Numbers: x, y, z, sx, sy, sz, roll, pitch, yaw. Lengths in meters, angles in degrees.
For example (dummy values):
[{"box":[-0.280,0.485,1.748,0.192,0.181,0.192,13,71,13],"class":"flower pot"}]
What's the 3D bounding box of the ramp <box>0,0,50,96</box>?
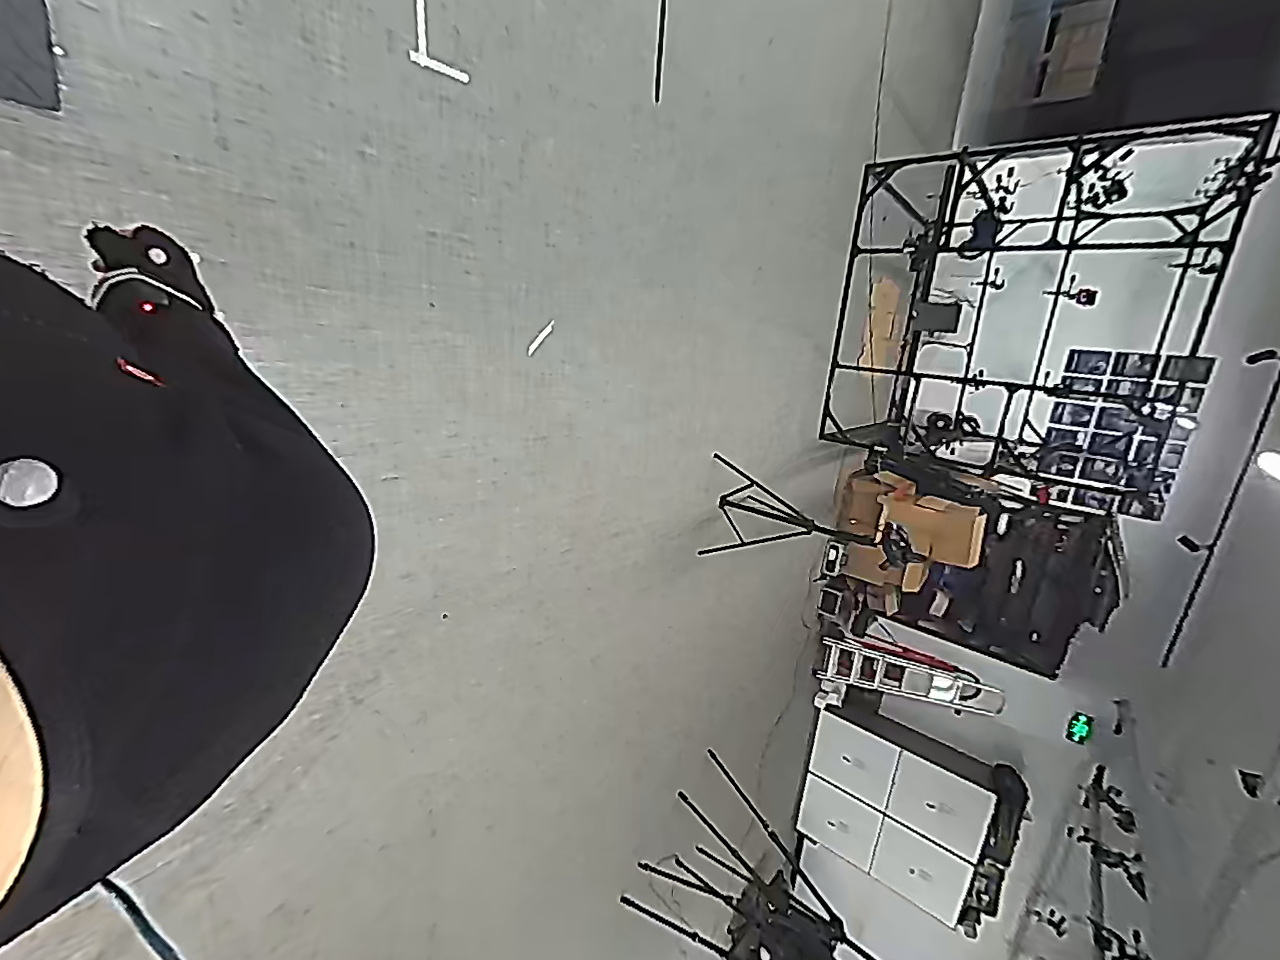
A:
[{"box":[-1.075,-1.078,0.584,0.509,0.206,0.991,-18,117,-51],"class":"ramp"}]
